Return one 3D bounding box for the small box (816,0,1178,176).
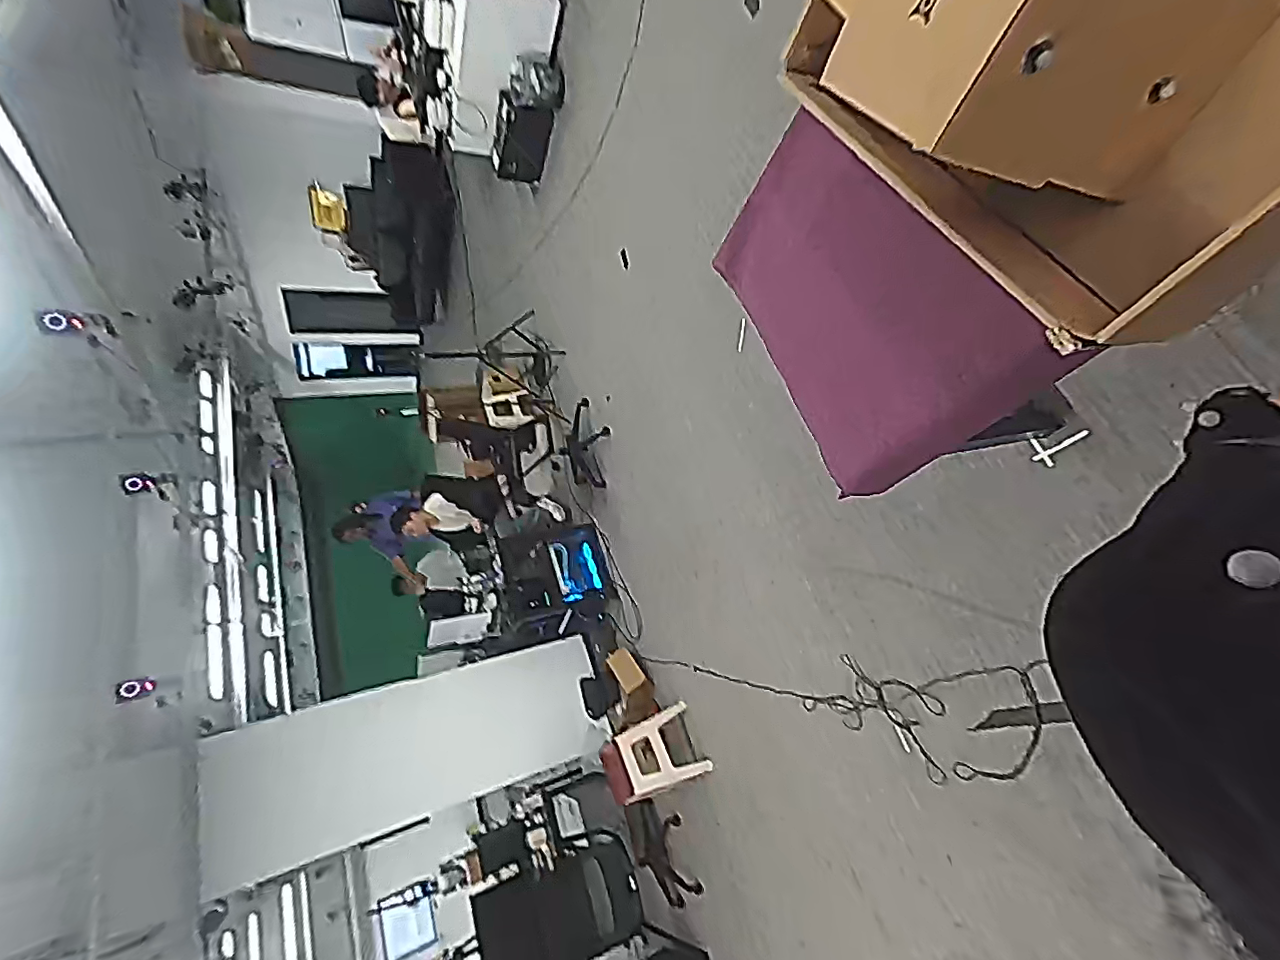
[{"bbox_3d":[0.291,-0.383,0.448,0.168,0.176,0.179,64,146,33],"label":"small box"}]
